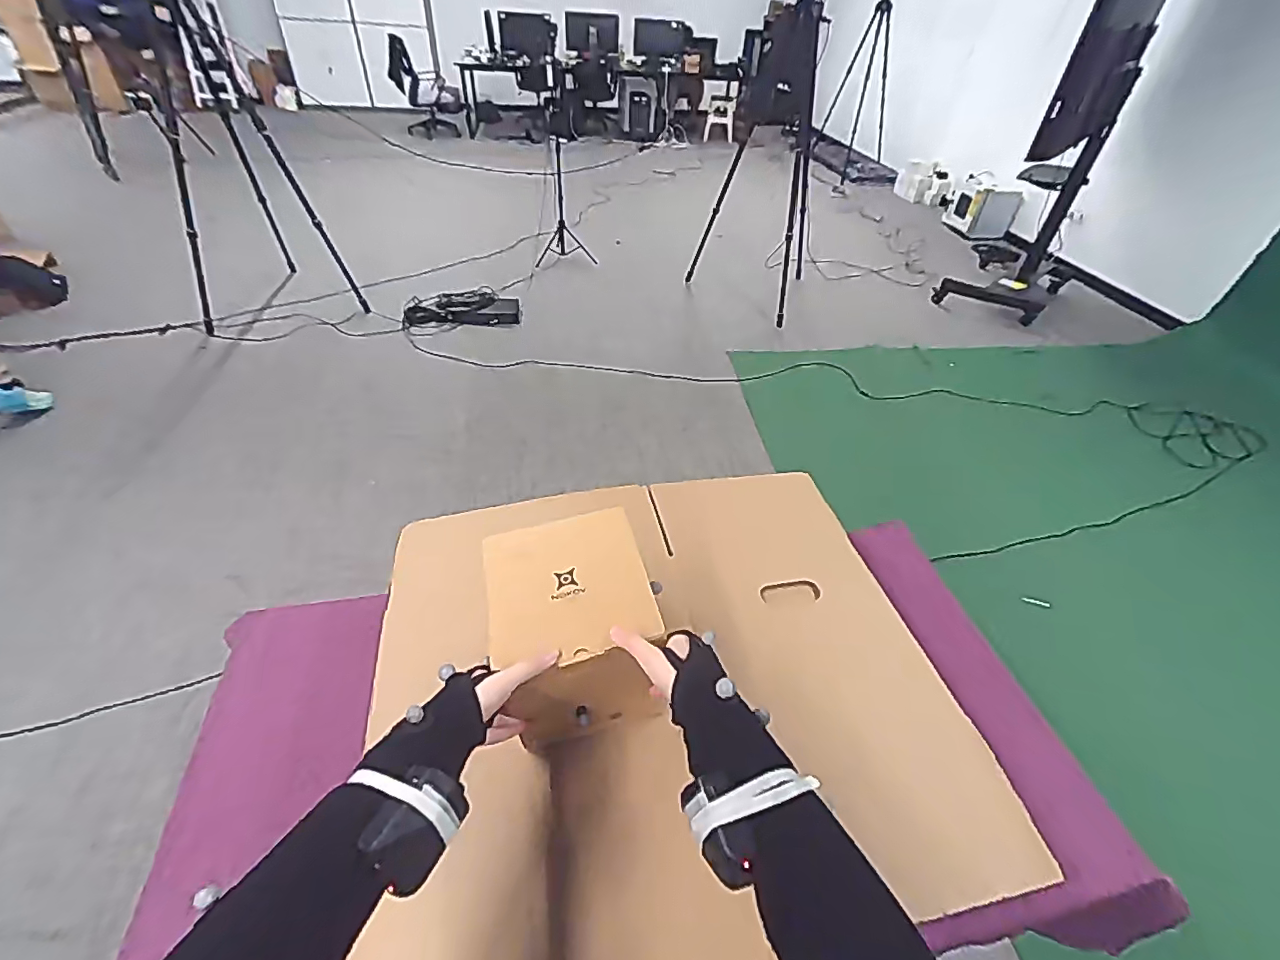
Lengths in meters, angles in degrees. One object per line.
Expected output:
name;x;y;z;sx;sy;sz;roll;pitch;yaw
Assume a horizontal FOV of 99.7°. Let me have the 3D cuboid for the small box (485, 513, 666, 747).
small box;-0.072;0.169;0.617;0.168;0.176;0.179;-13;46;-9
